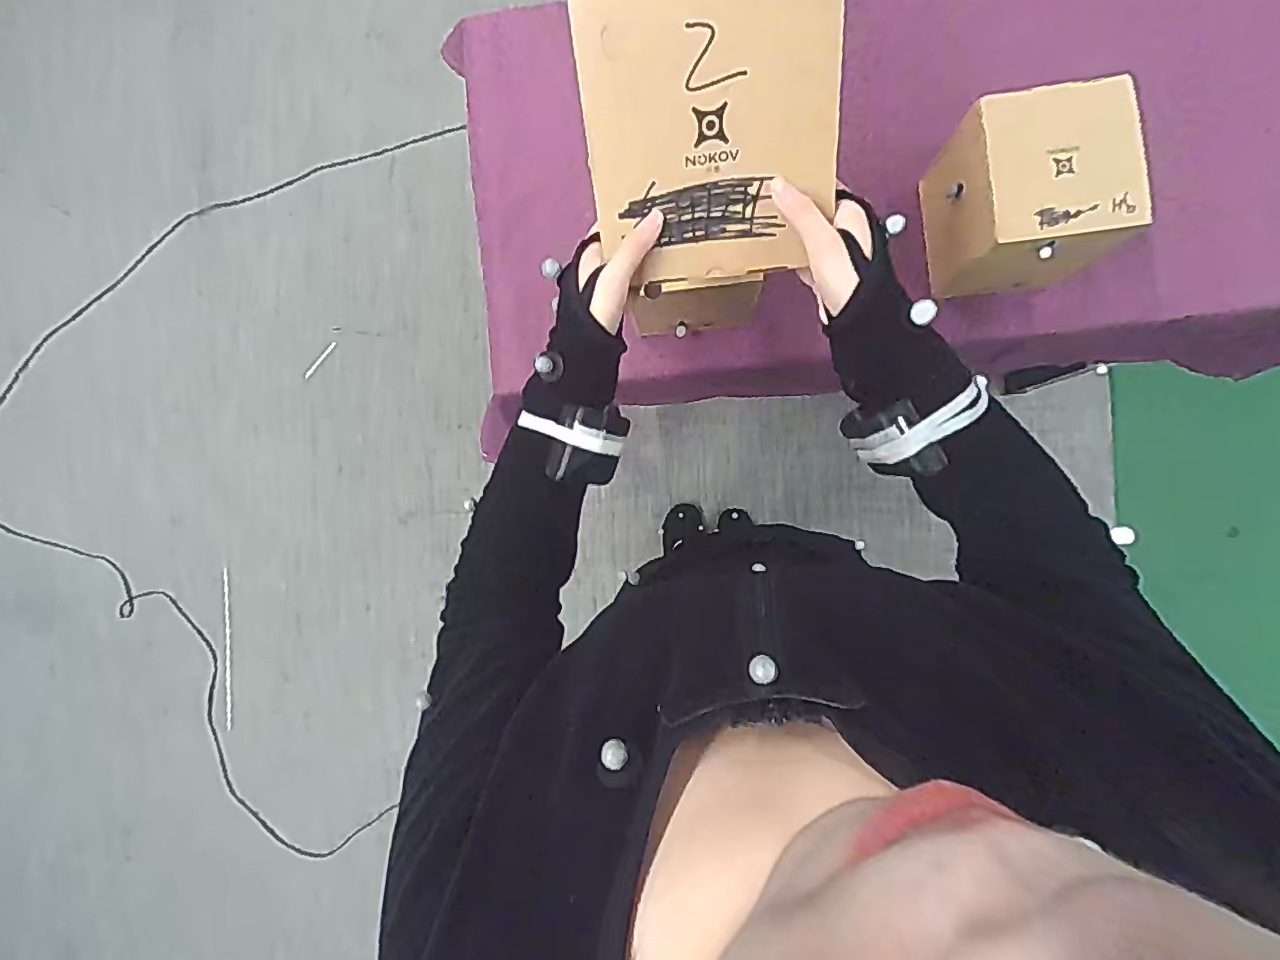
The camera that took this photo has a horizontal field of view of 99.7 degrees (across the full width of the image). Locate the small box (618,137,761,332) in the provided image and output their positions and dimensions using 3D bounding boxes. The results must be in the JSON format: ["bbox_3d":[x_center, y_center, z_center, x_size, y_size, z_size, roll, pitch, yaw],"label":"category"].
[{"bbox_3d":[0.065,-0.314,0.725,0.168,0.176,0.179,-4,88,6],"label":"small box"}]

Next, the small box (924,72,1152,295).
[{"bbox_3d":[0.481,-0.359,0.684,0.168,0.176,0.179,-5,87,6],"label":"small box"}]
